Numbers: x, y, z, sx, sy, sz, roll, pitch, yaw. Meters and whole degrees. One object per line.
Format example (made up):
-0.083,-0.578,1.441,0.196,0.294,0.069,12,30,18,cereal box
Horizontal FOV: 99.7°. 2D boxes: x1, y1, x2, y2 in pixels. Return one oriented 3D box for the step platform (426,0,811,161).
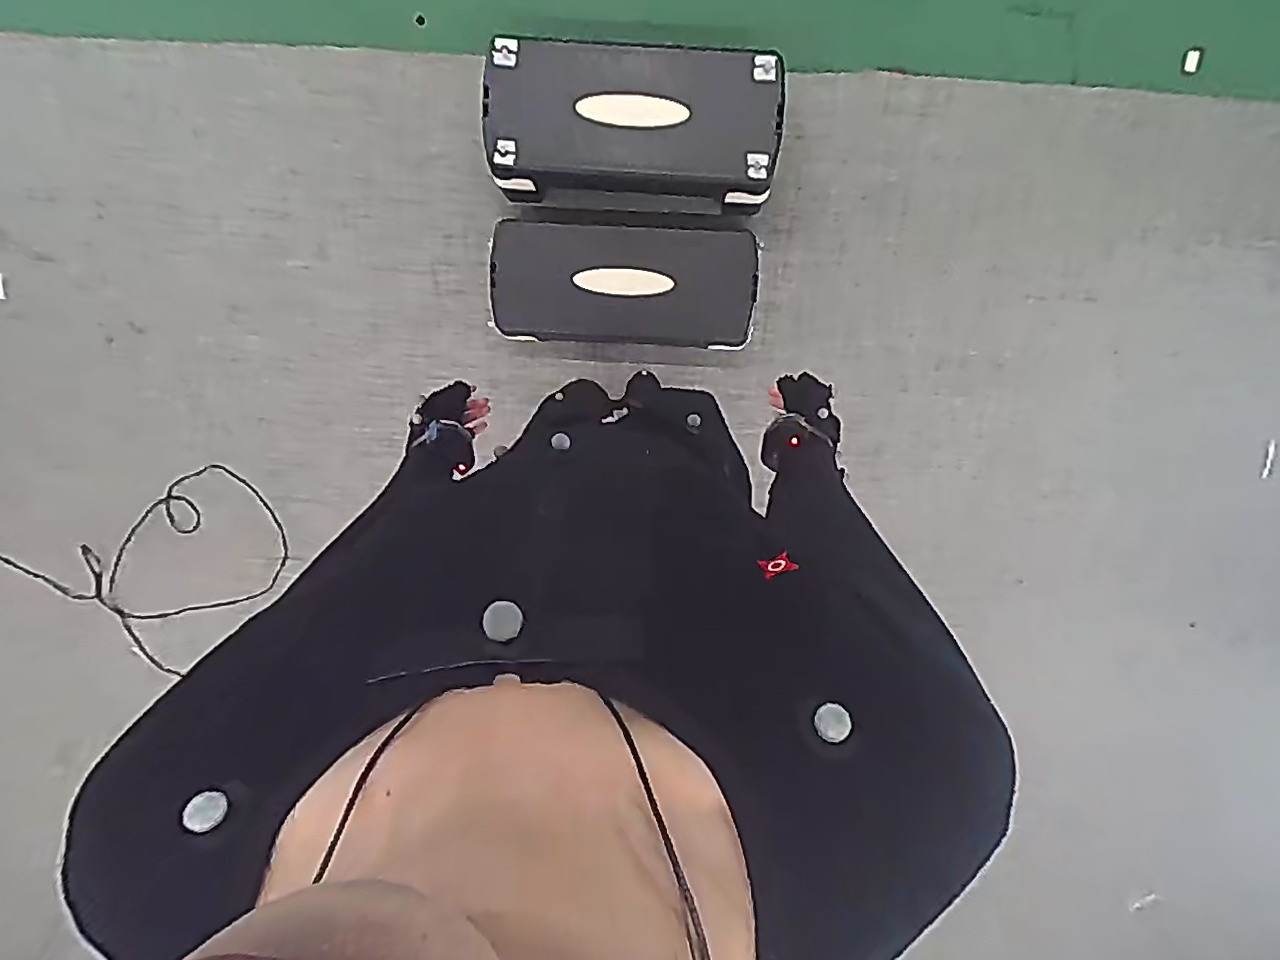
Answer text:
-0.040,-0.812,1.050,0.684,0.204,0.286,3,100,1,step platform
